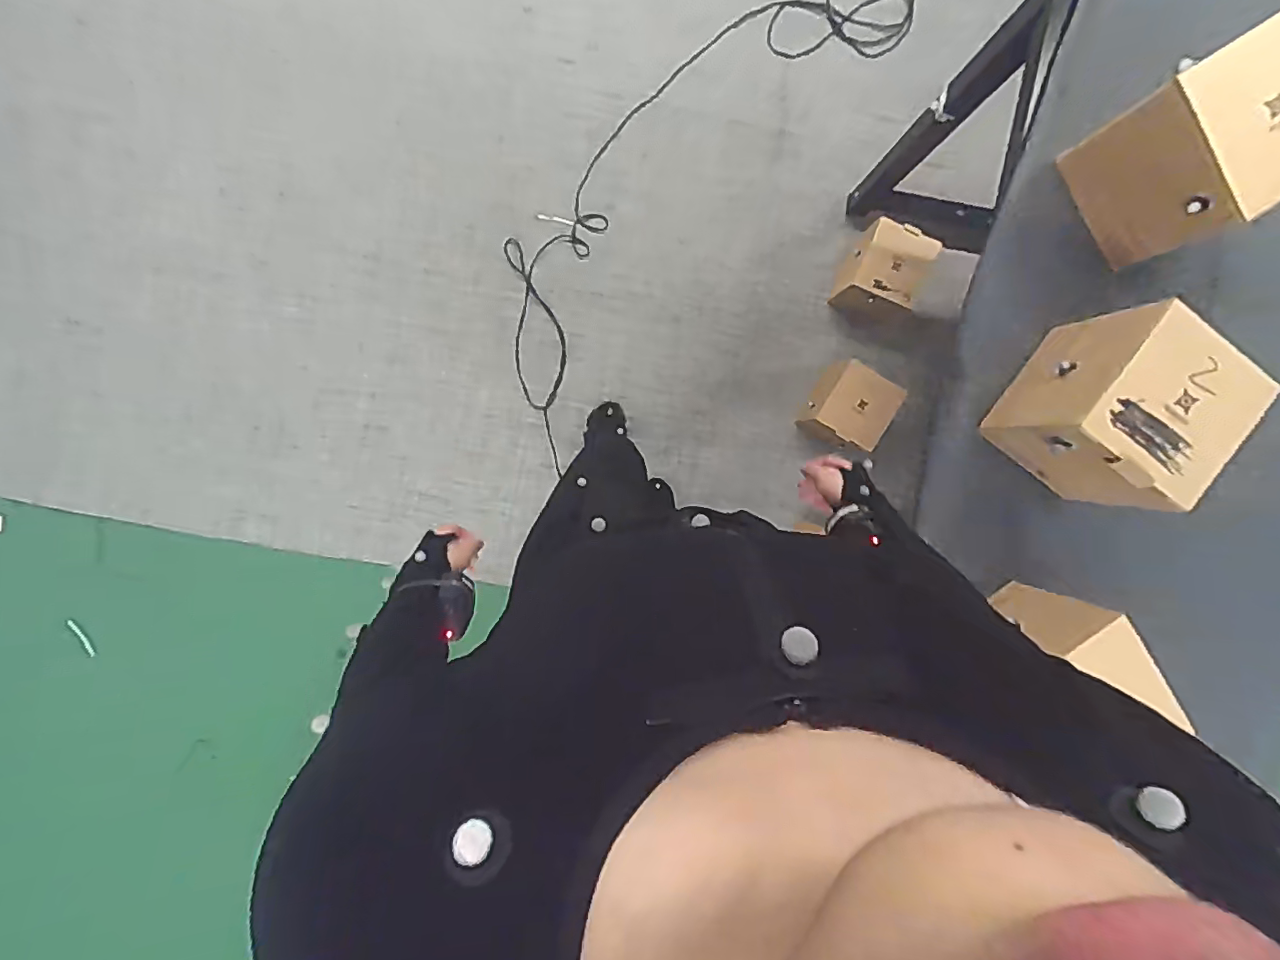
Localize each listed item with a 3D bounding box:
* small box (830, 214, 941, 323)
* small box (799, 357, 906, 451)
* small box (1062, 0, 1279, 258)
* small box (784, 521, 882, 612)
[{"bbox_3d":[0.609,-0.525,1.365,0.168,0.176,0.179,23,92,-3],"label":"small box"},{"bbox_3d":[0.532,-0.187,1.385,0.168,0.176,0.179,31,91,-4],"label":"small box"},{"bbox_3d":[0.666,-0.403,0.646,0.168,0.176,0.179,-32,95,1],"label":"small box"},{"bbox_3d":[0.493,0.217,1.410,0.168,0.176,0.179,16,94,-2],"label":"small box"}]
